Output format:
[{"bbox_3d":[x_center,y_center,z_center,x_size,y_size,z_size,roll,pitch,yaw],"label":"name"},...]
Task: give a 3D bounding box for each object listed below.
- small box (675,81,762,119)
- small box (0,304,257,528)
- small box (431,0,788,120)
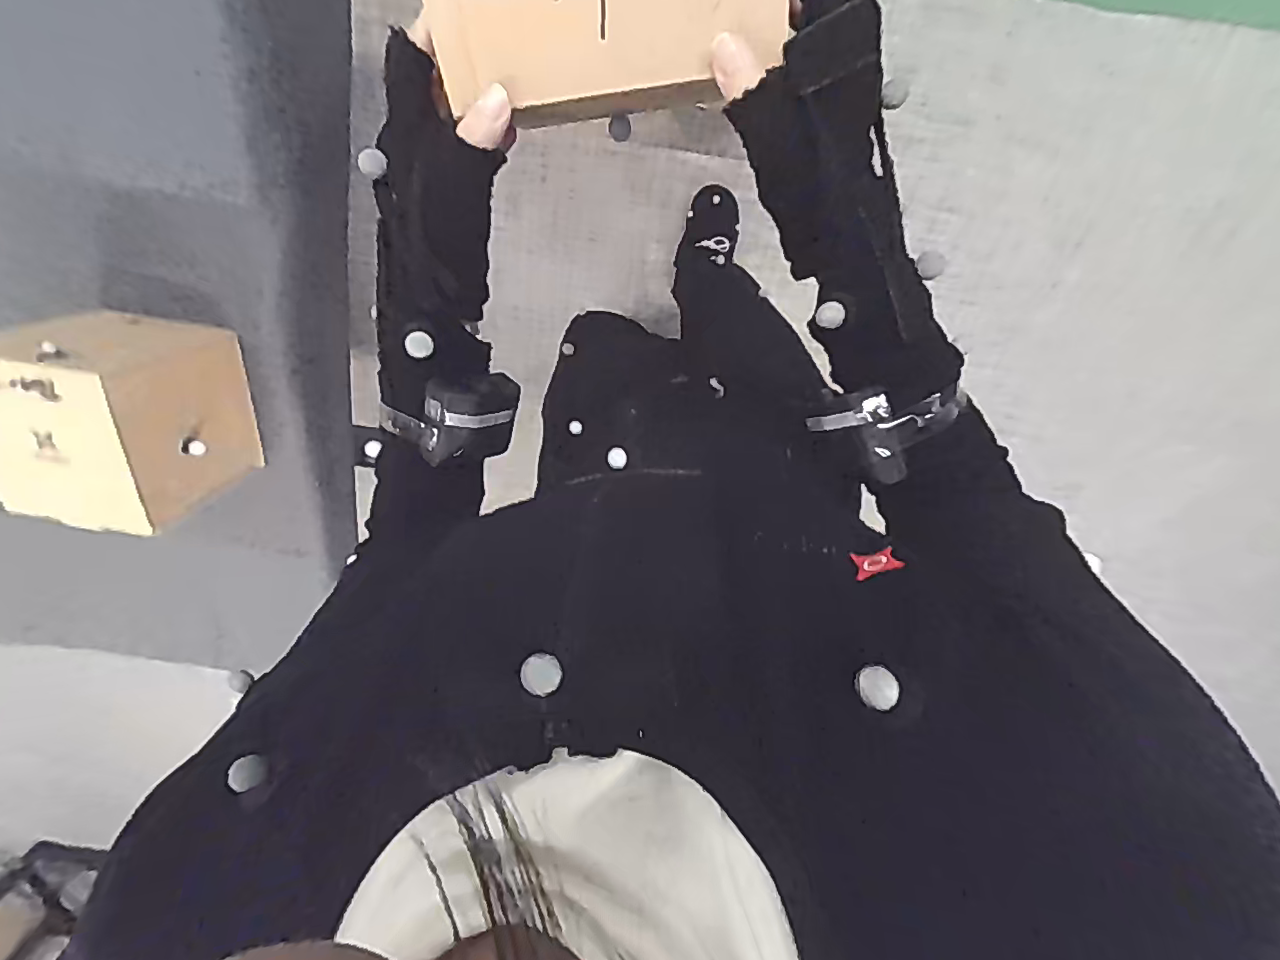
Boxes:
[{"bbox_3d":[0.142,-0.777,0.980,0.168,0.176,0.179,10,121,1],"label":"small box"},{"bbox_3d":[-0.562,-0.076,0.588,0.168,0.176,0.179,10,119,1],"label":"small box"},{"bbox_3d":[-0.017,-0.307,0.287,0.168,0.176,0.179,-4,122,5],"label":"small box"}]
